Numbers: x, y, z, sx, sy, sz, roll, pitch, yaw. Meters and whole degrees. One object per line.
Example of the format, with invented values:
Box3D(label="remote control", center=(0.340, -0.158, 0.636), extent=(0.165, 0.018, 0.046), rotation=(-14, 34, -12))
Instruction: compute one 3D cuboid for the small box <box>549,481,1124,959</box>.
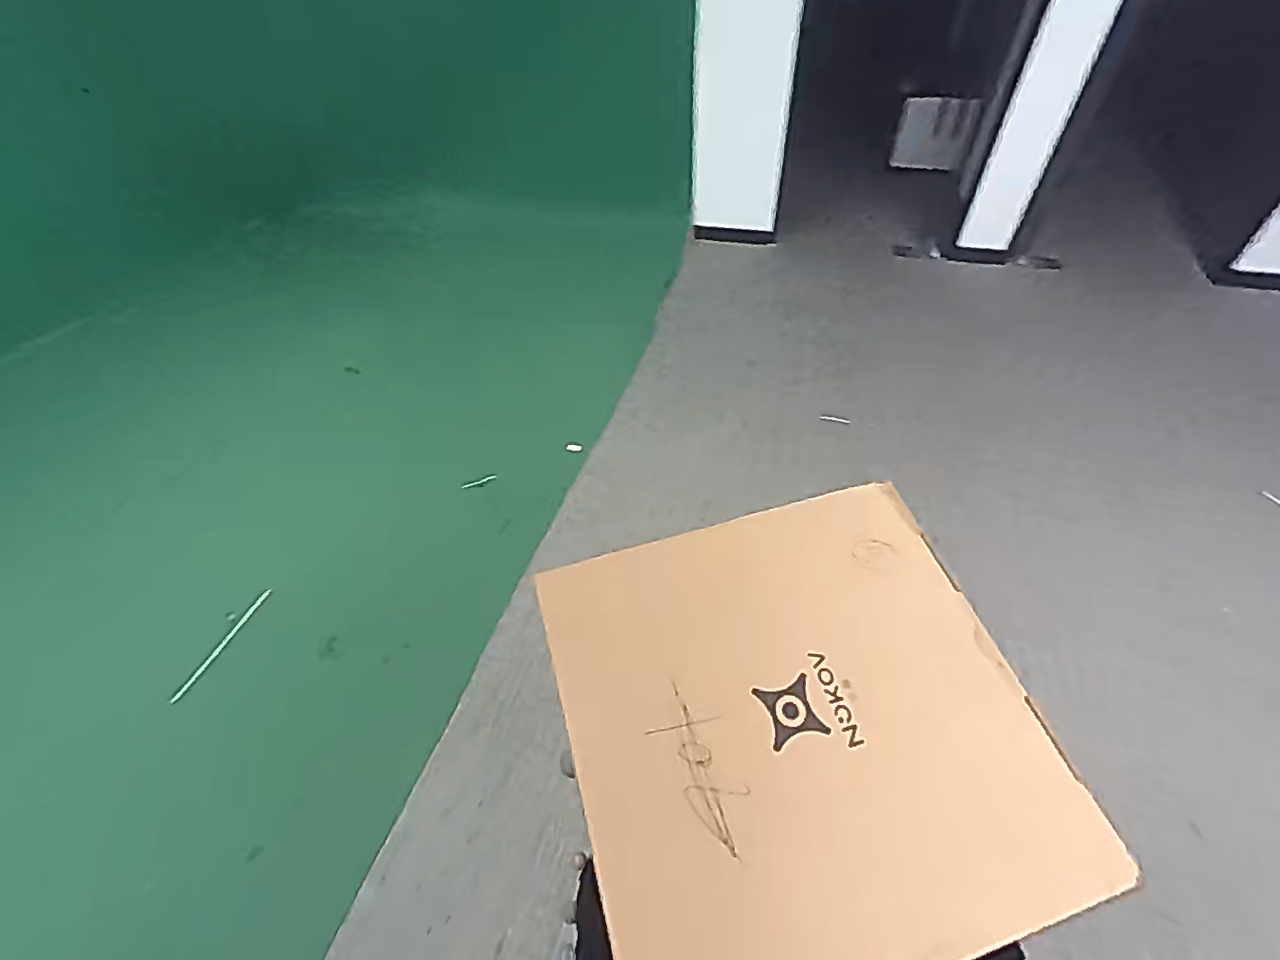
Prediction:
Box3D(label="small box", center=(0.063, 0.127, 0.279), extent=(0.179, 0.176, 0.168), rotation=(-14, 59, -7))
